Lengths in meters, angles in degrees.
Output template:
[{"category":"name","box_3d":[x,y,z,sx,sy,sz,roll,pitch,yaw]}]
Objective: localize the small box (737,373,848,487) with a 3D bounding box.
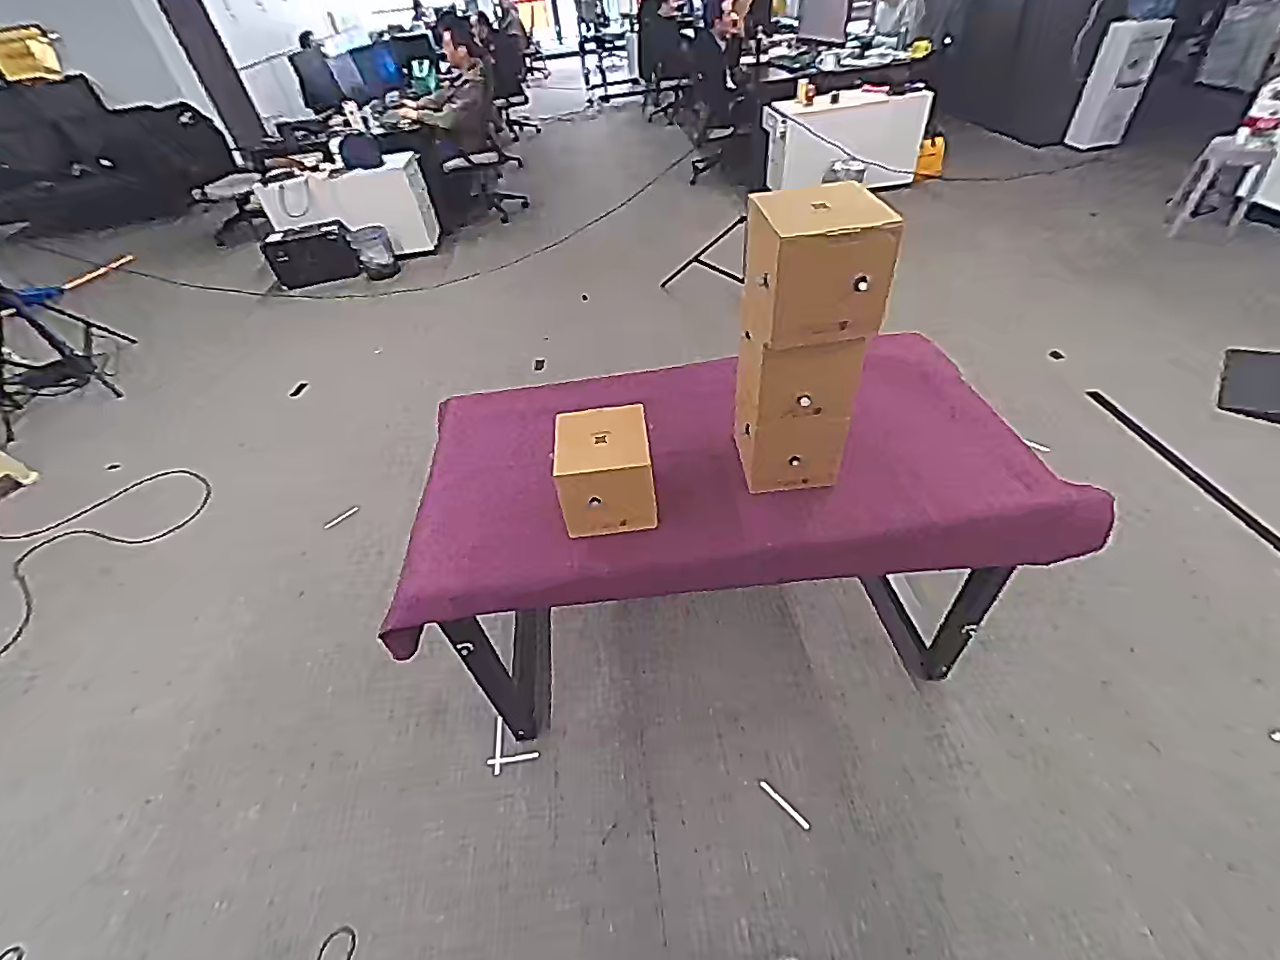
[{"category":"small box","box_3d":[0.284,-0.098,1.046,0.168,0.176,0.179,-5,44,1]}]

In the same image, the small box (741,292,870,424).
[{"category":"small box","box_3d":[0.271,-0.218,0.934,0.168,0.176,0.179,-6,45,2]}]

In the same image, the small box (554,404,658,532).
[{"category":"small box","box_3d":[-0.060,-0.017,1.010,0.168,0.176,0.179,-7,43,0]}]

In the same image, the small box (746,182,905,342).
[{"category":"small box","box_3d":[0.260,-0.318,0.805,0.168,0.176,0.179,-8,44,-1]}]
